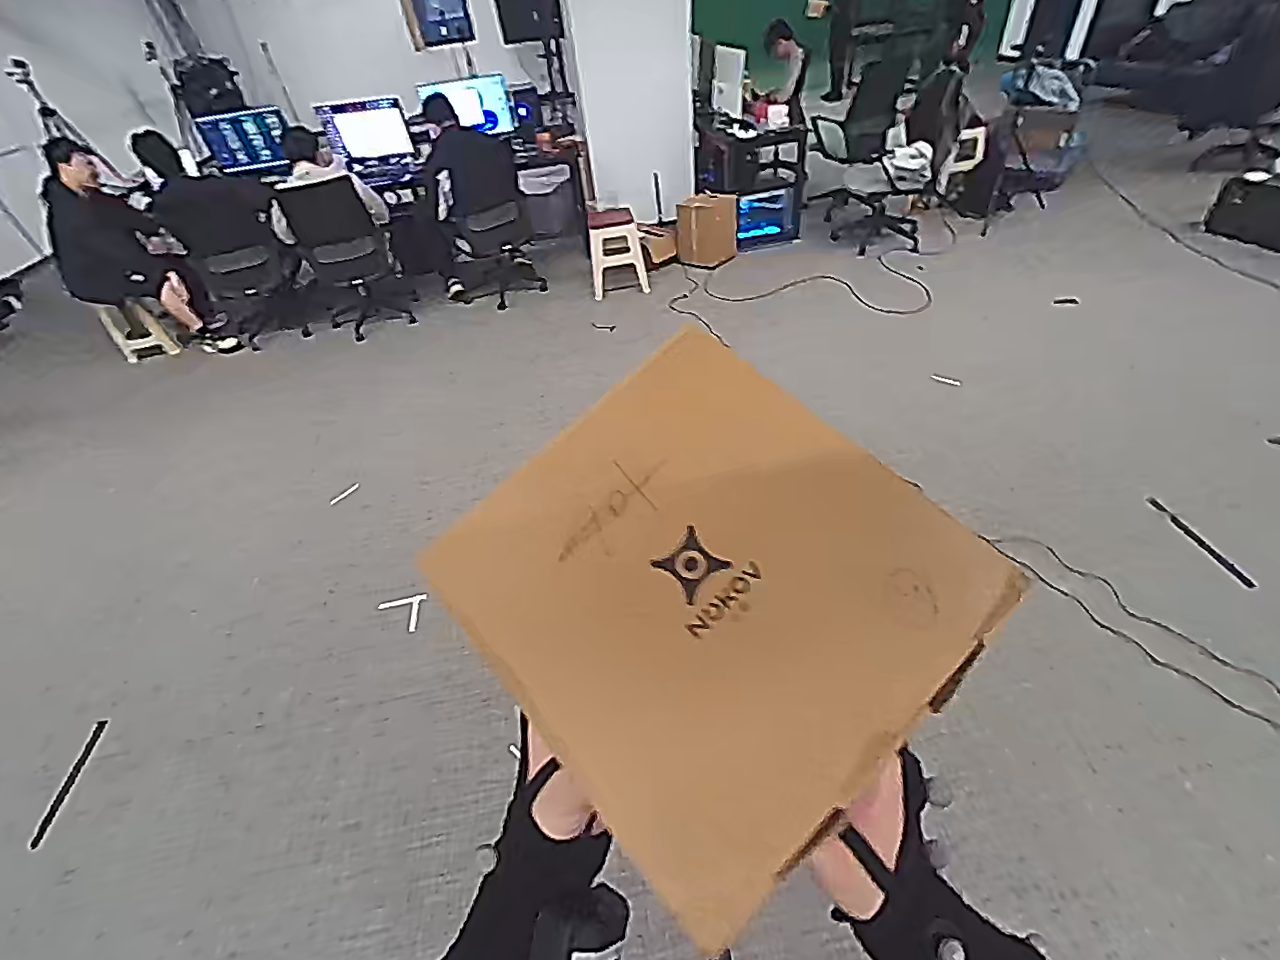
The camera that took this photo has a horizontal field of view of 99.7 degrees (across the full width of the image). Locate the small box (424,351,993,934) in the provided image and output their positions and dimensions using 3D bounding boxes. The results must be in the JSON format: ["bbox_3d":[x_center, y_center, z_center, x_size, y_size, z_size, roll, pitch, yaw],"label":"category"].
[{"bbox_3d":[0.031,0.073,0.295,0.168,0.176,0.179,-44,68,-11],"label":"small box"}]
